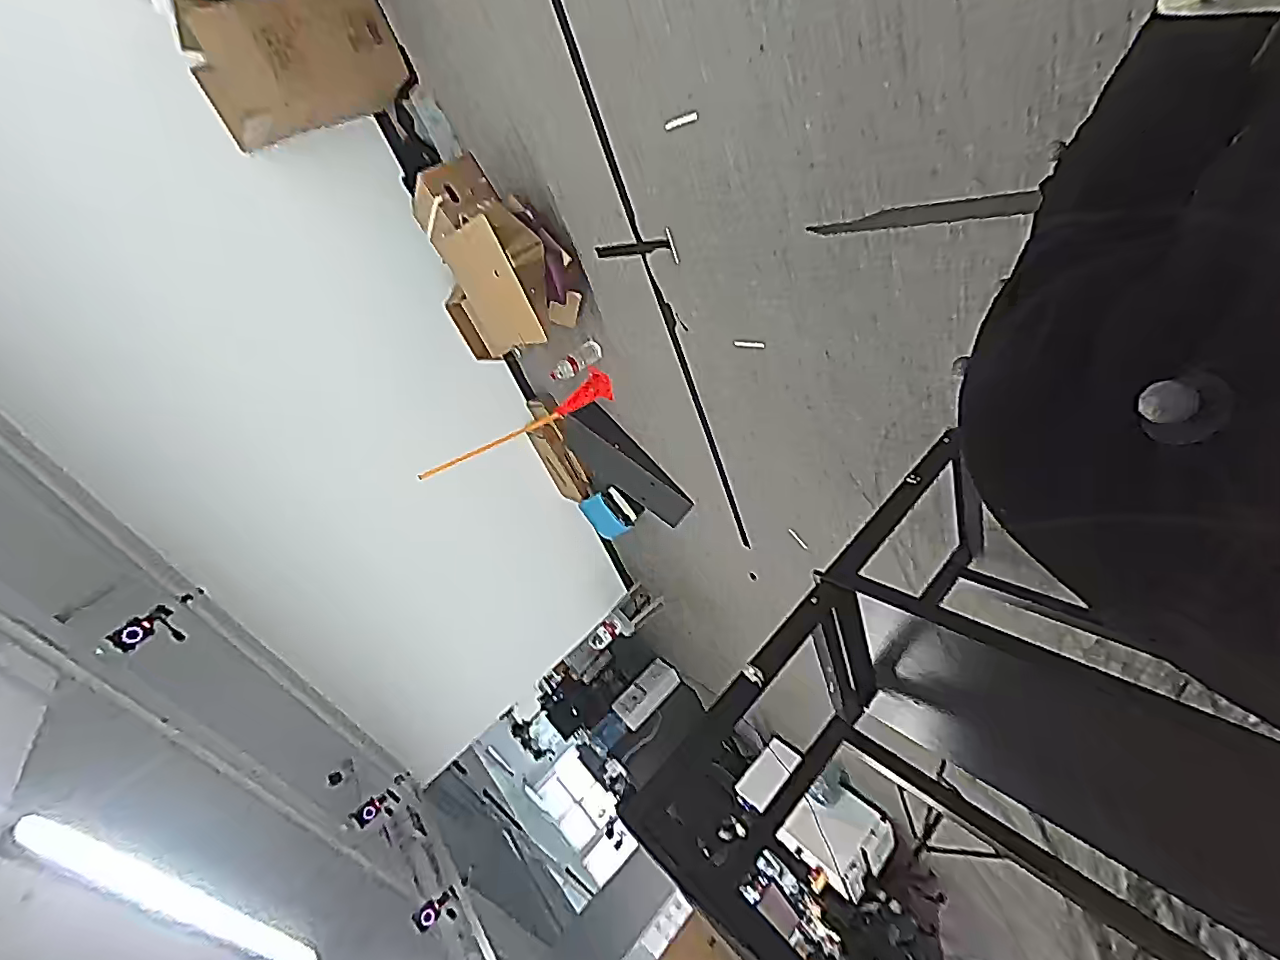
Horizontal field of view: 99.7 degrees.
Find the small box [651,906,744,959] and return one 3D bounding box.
[{"bbox_3d":[0.120,0.902,0.940,0.168,0.176,0.179,21,144,47],"label":"small box"}]
